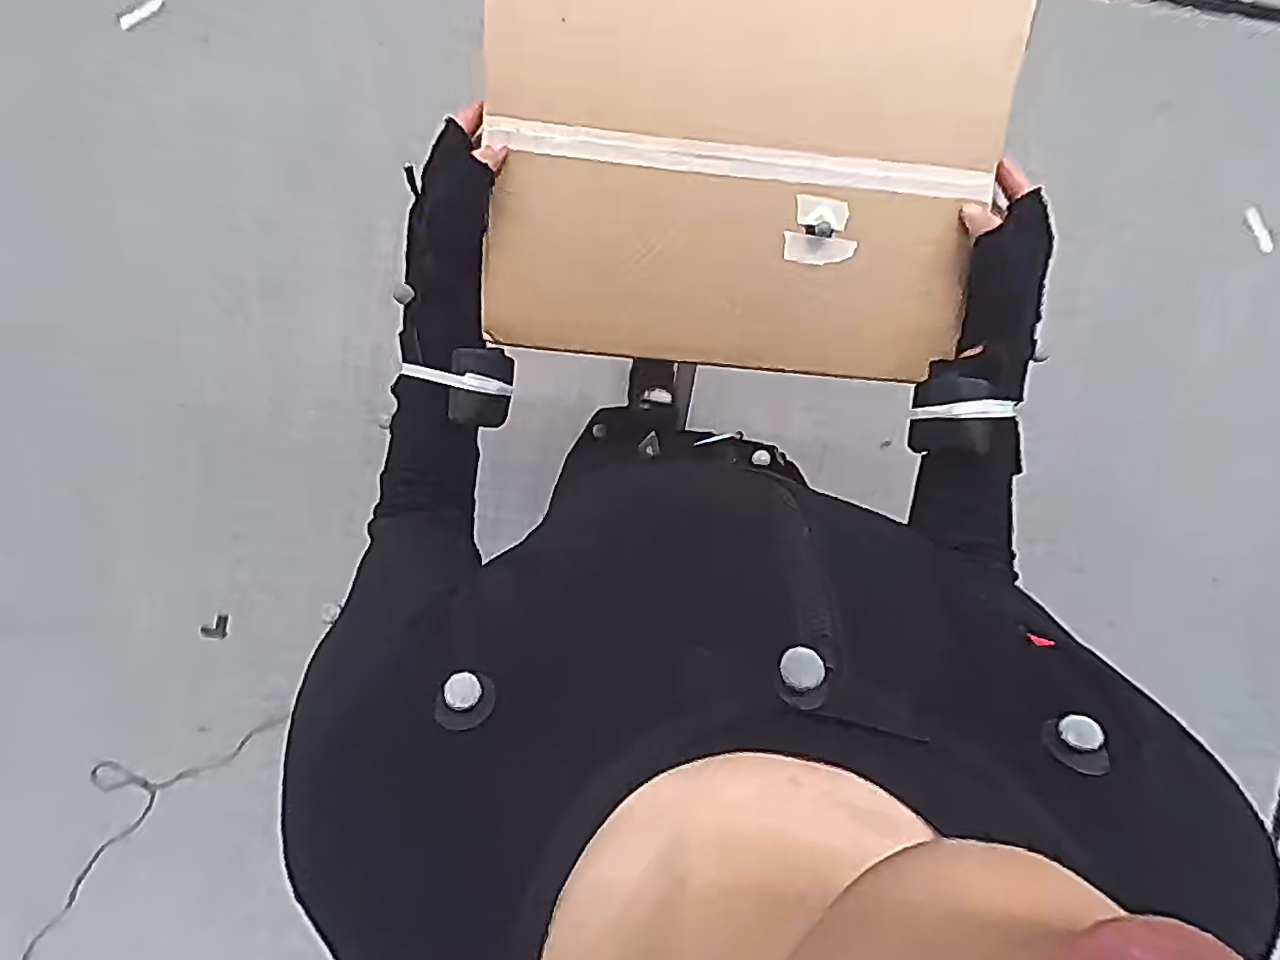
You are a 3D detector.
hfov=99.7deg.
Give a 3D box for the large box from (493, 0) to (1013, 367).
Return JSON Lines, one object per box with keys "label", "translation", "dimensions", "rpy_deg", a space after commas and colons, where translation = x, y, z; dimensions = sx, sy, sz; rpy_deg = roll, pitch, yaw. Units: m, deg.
{"label": "large box", "translation": [0.073, -0.300, 0.581], "dimensions": [0.408, 0.320, 0.320], "rpy_deg": [4, 106, -5]}
